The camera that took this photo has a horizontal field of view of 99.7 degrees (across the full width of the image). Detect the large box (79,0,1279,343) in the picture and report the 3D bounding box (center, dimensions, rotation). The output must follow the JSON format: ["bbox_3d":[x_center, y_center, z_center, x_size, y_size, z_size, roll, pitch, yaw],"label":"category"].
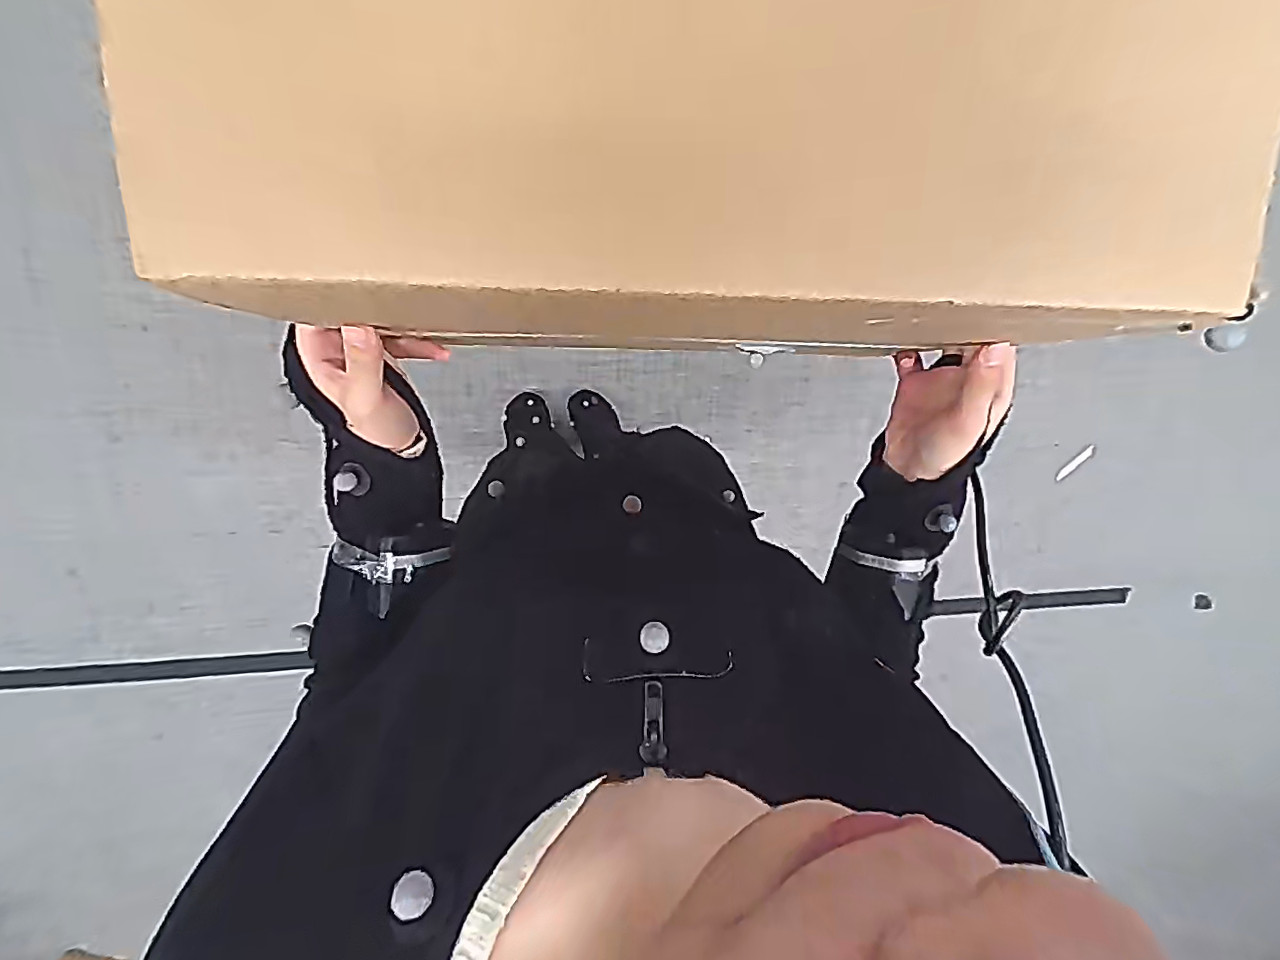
[{"bbox_3d":[0.022,-0.250,0.303,0.408,0.320,0.320,0,101,-6],"label":"large box"}]
